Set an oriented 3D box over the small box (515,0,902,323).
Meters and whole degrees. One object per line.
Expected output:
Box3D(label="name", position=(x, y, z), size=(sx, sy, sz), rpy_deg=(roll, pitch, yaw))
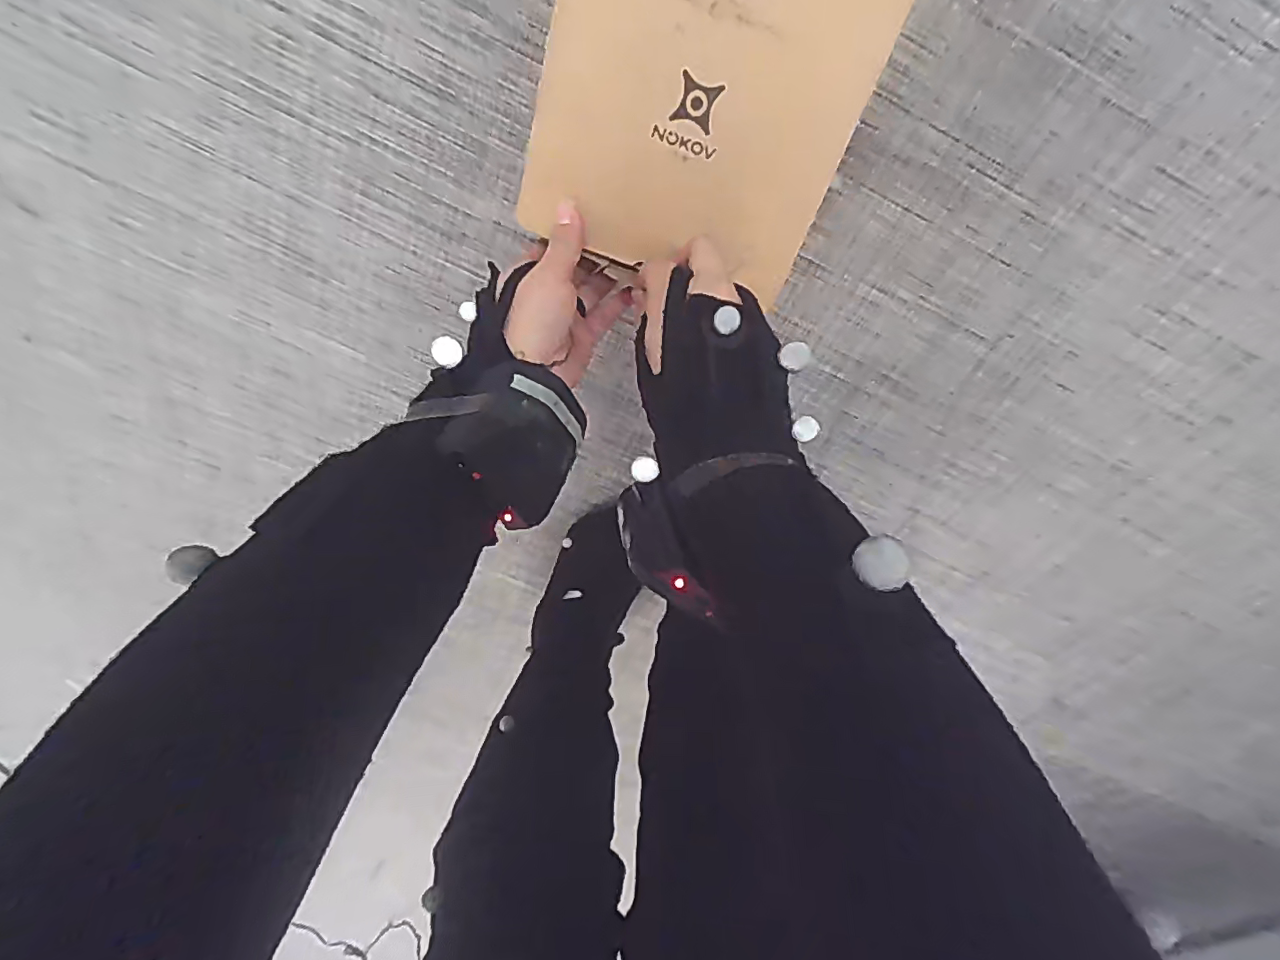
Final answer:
Box3D(label="small box", position=(0.033, -0.234, 0.362), size=(0.168, 0.176, 0.179), rpy_deg=(18, 121, -5))
